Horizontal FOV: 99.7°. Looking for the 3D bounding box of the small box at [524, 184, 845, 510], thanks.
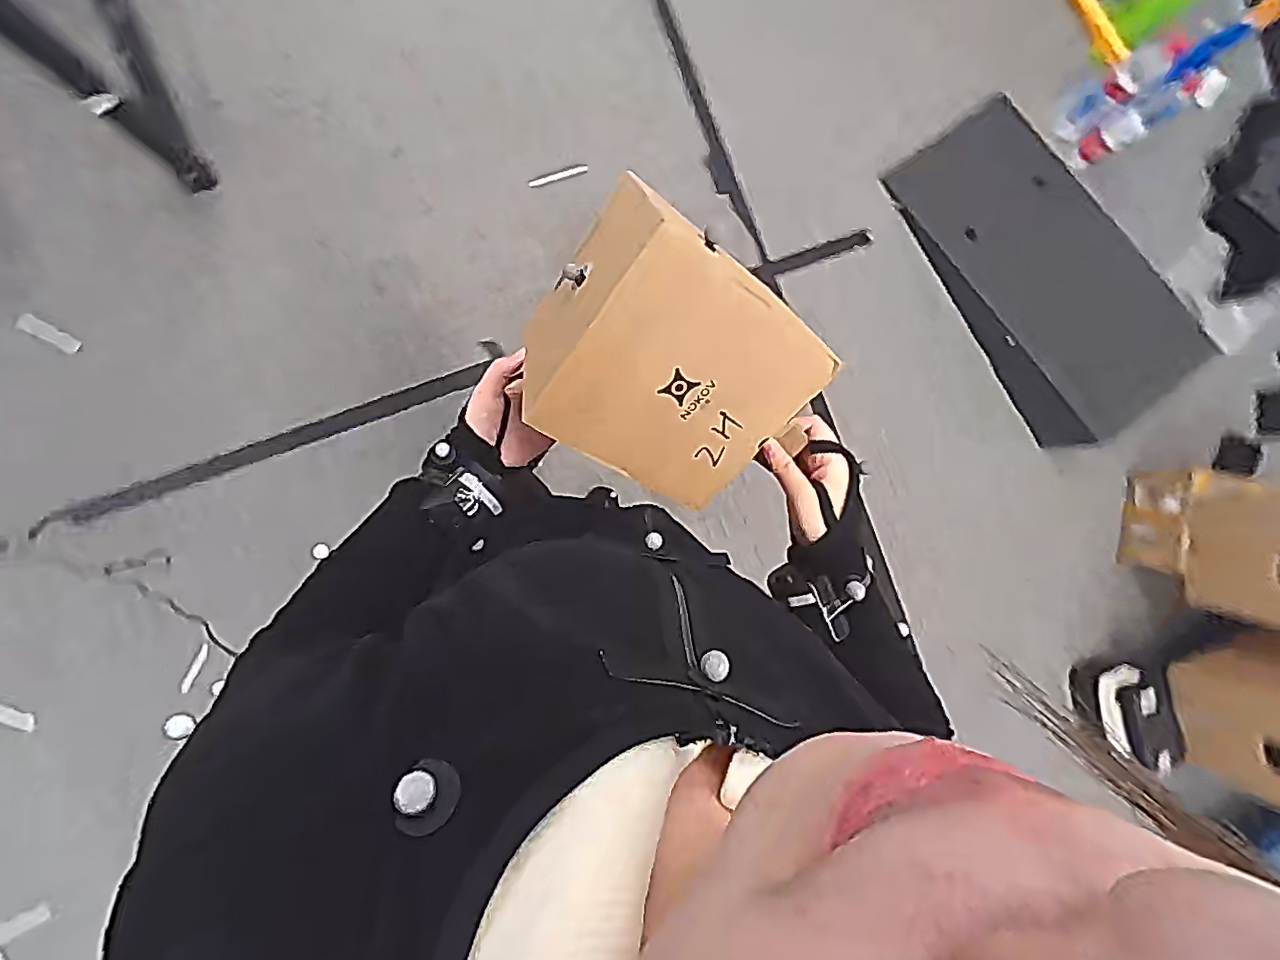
[{"bbox_3d":[0.020,-0.111,0.441,0.179,0.176,0.168,26,118,-29],"label":"small box"}]
